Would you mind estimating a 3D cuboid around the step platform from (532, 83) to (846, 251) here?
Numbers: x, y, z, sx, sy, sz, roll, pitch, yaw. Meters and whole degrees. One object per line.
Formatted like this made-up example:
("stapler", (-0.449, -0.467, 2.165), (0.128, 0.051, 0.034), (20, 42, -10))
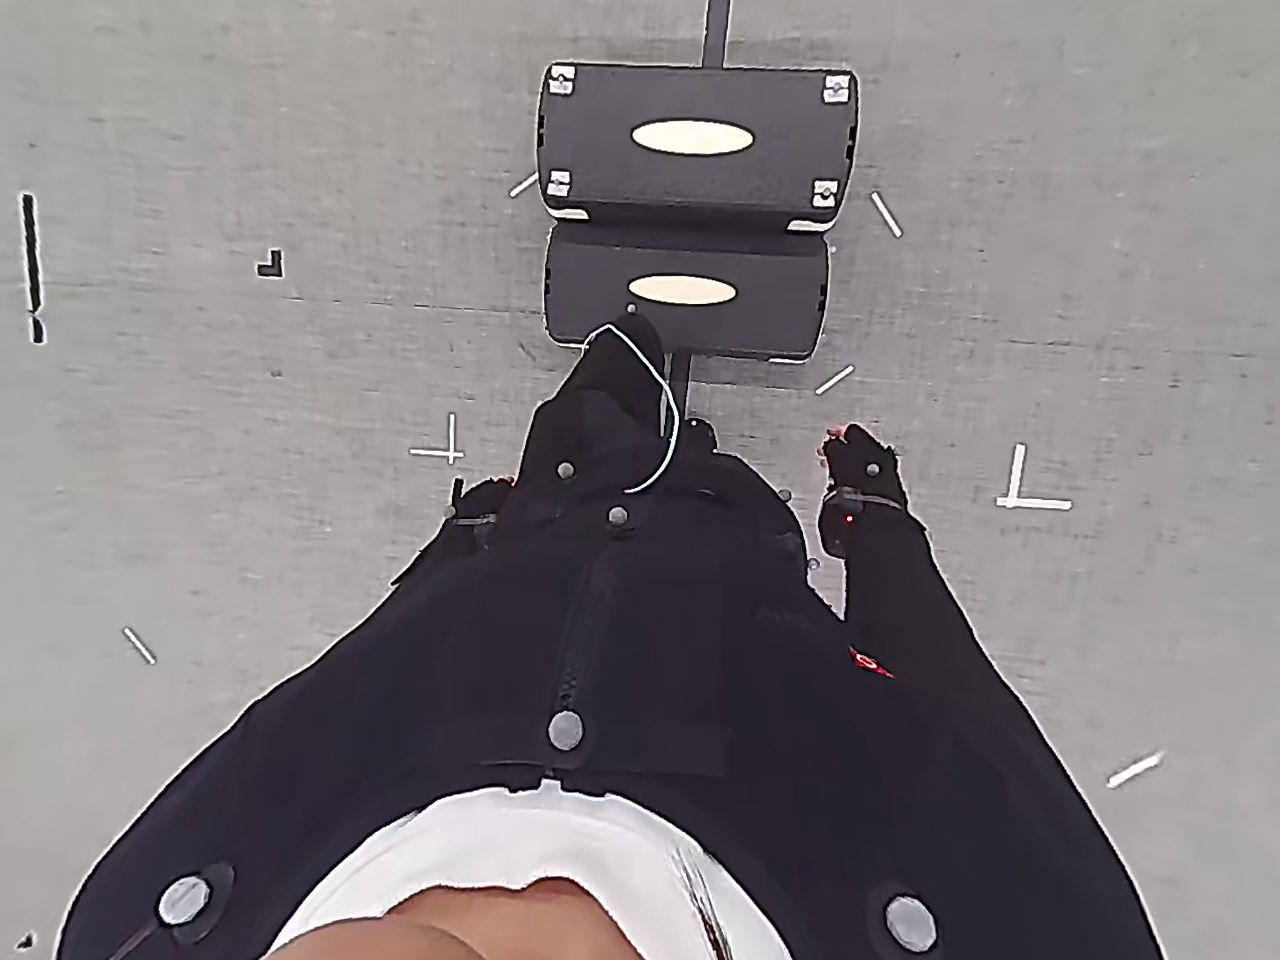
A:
("step platform", (0.102, -0.701, 1.226), (0.684, 0.204, 0.286), (4, 101, 4))
